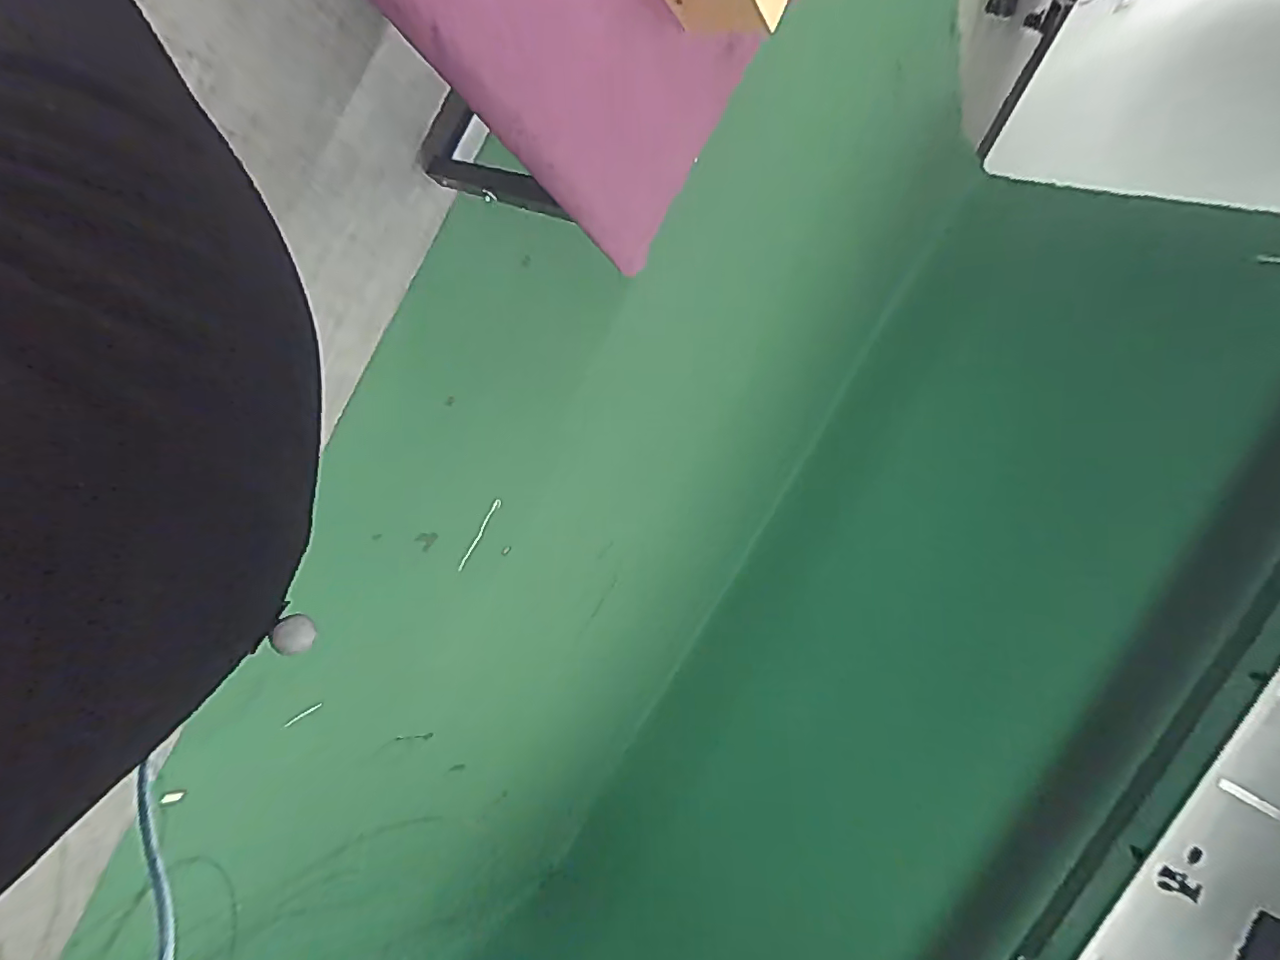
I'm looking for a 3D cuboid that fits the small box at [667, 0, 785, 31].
[{"bbox_3d":[0.117,-0.761,0.740,0.168,0.176,0.179,9,109,-54],"label":"small box"}]
